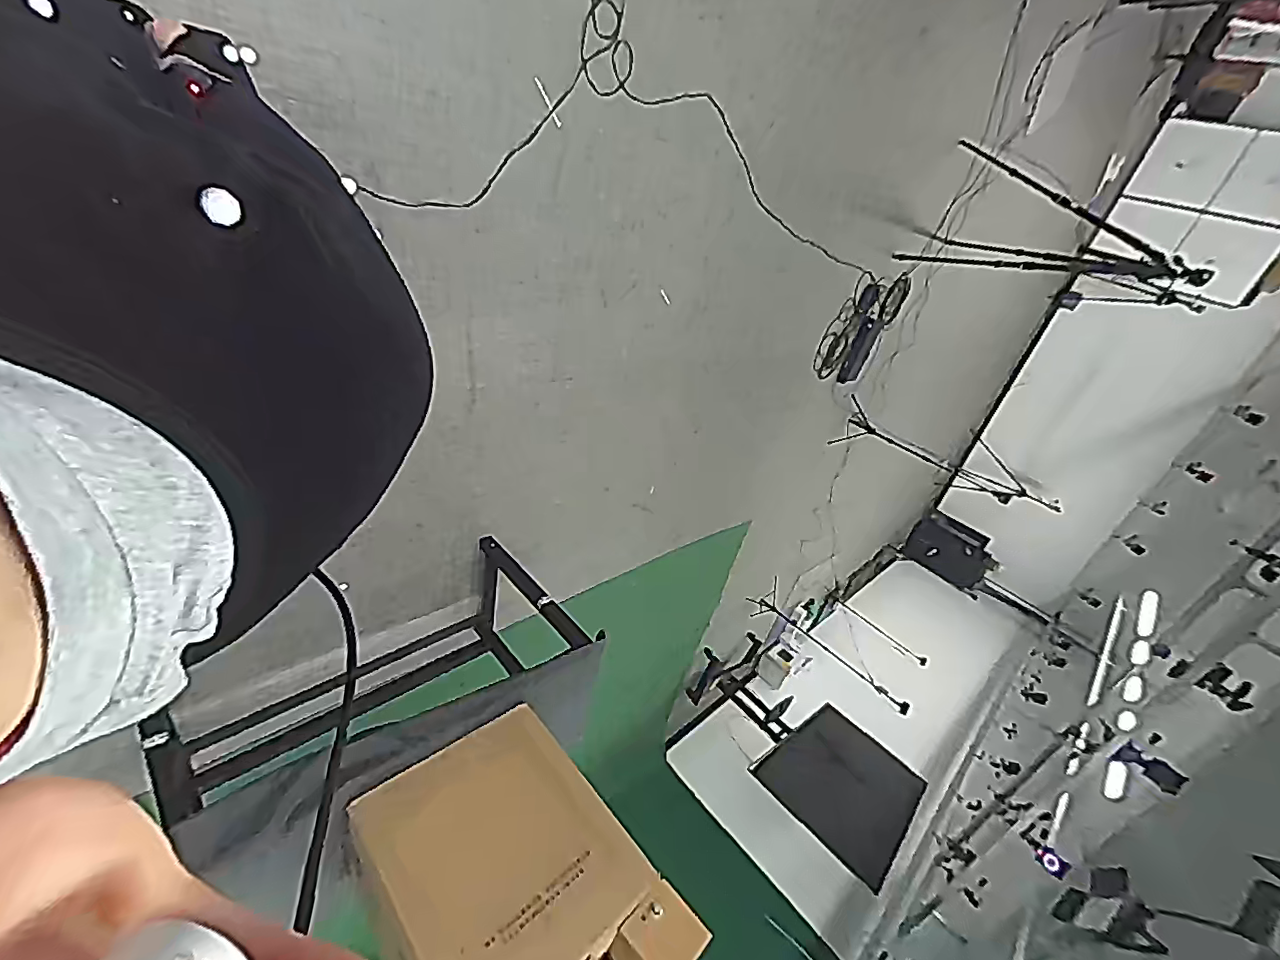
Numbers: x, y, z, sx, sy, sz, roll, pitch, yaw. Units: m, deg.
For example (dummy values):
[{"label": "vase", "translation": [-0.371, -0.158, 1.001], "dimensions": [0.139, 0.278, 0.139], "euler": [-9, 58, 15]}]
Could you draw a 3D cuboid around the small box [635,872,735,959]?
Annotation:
[{"label": "small box", "translation": [0.106, 1.142, 1.356], "dimensions": [0.168, 0.176, 0.179], "euler": [-24, 135, -43]}]
